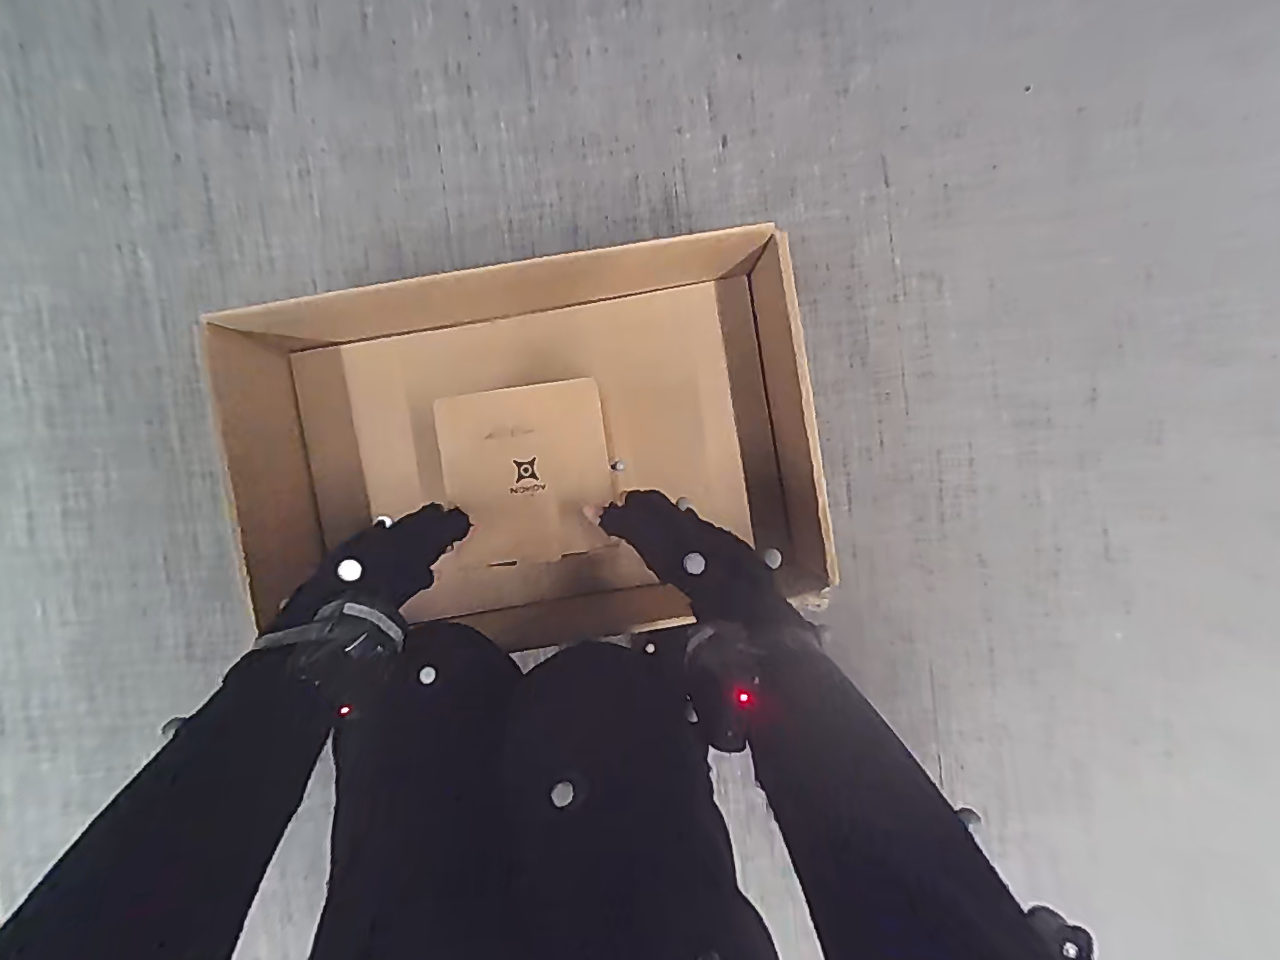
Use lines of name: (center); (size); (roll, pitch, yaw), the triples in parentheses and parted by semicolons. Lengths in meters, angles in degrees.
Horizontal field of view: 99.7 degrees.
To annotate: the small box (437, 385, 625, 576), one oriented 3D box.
small box: (-0.109, 0.000, 0.616); (0.168, 0.176, 0.179); (-8, 90, 0)
